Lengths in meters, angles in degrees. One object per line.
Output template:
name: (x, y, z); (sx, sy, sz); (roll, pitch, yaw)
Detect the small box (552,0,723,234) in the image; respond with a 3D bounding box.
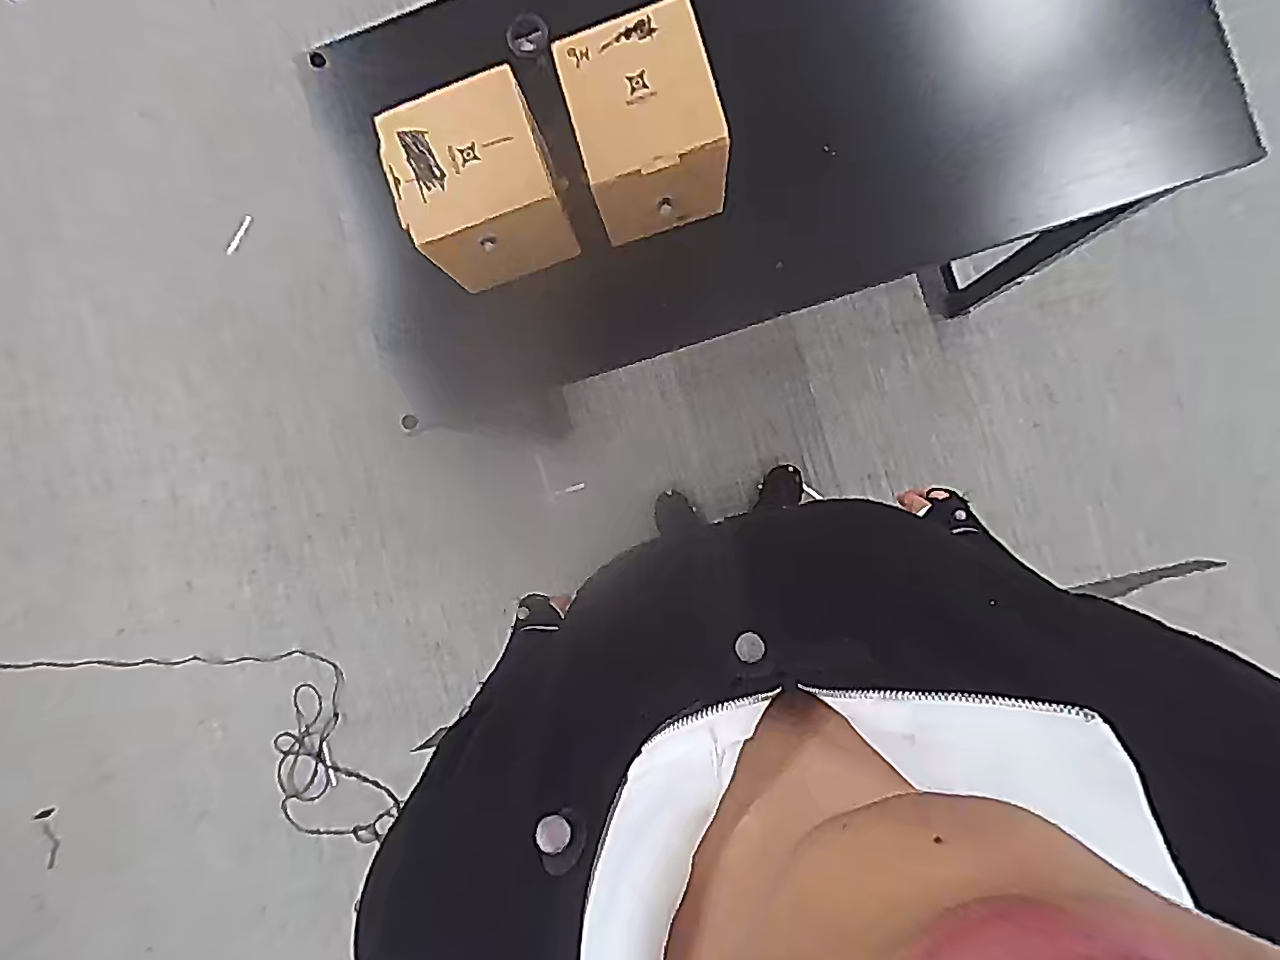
small box: (0.004, -0.443, 0.698); (0.168, 0.176, 0.179); (-16, 90, 5)

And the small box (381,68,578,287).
small box: (-0.200, -0.382, 0.720); (0.179, 0.176, 0.168); (-18, 89, 5)
